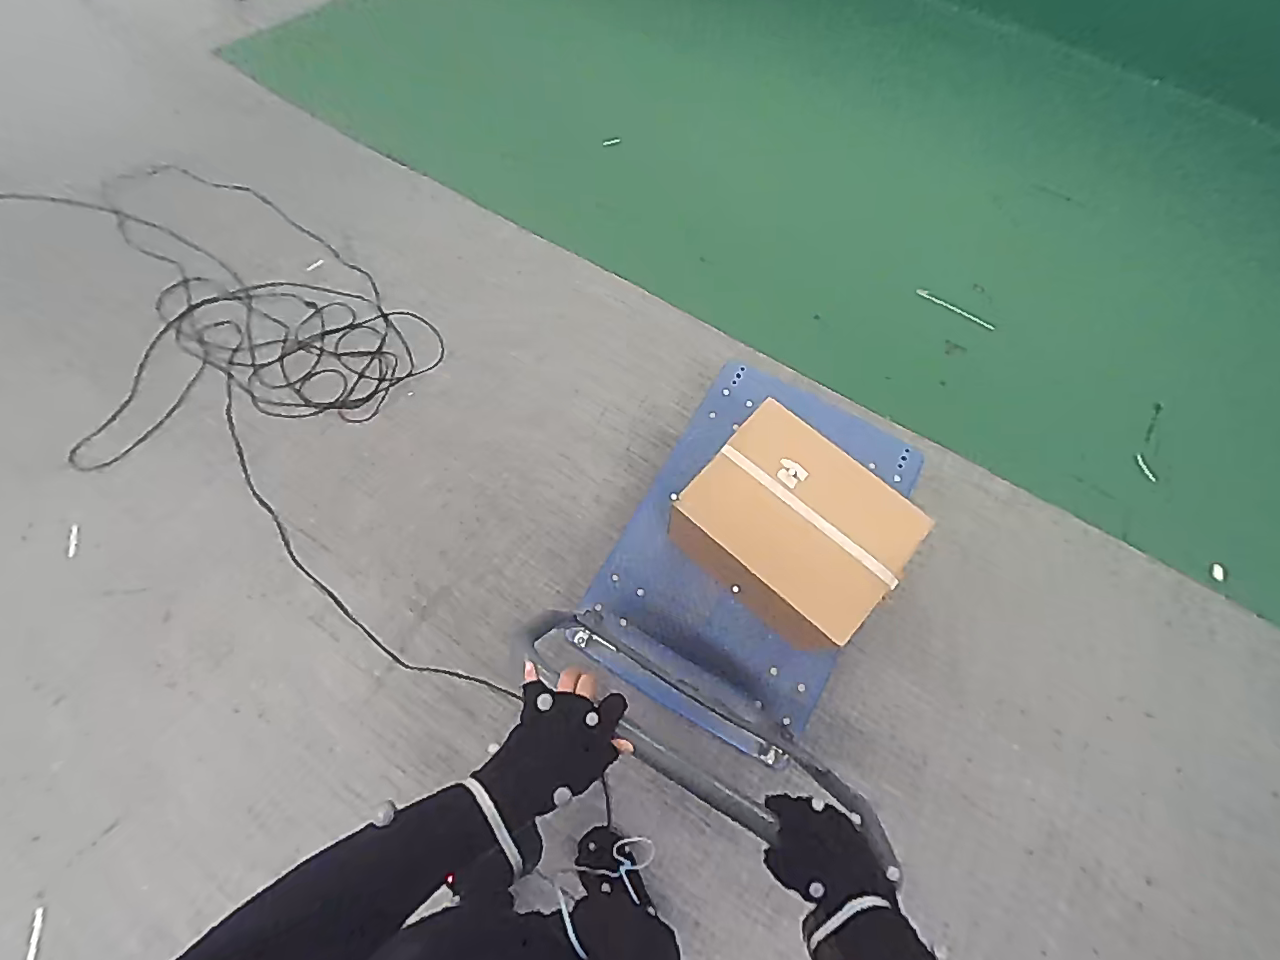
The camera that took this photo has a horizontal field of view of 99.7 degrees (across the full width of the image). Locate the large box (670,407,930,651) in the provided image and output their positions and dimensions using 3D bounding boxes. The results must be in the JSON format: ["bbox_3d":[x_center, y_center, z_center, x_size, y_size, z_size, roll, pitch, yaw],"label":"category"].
[{"bbox_3d":[0.313,0.123,1.182,0.408,0.320,0.320,41,76,14],"label":"large box"}]
